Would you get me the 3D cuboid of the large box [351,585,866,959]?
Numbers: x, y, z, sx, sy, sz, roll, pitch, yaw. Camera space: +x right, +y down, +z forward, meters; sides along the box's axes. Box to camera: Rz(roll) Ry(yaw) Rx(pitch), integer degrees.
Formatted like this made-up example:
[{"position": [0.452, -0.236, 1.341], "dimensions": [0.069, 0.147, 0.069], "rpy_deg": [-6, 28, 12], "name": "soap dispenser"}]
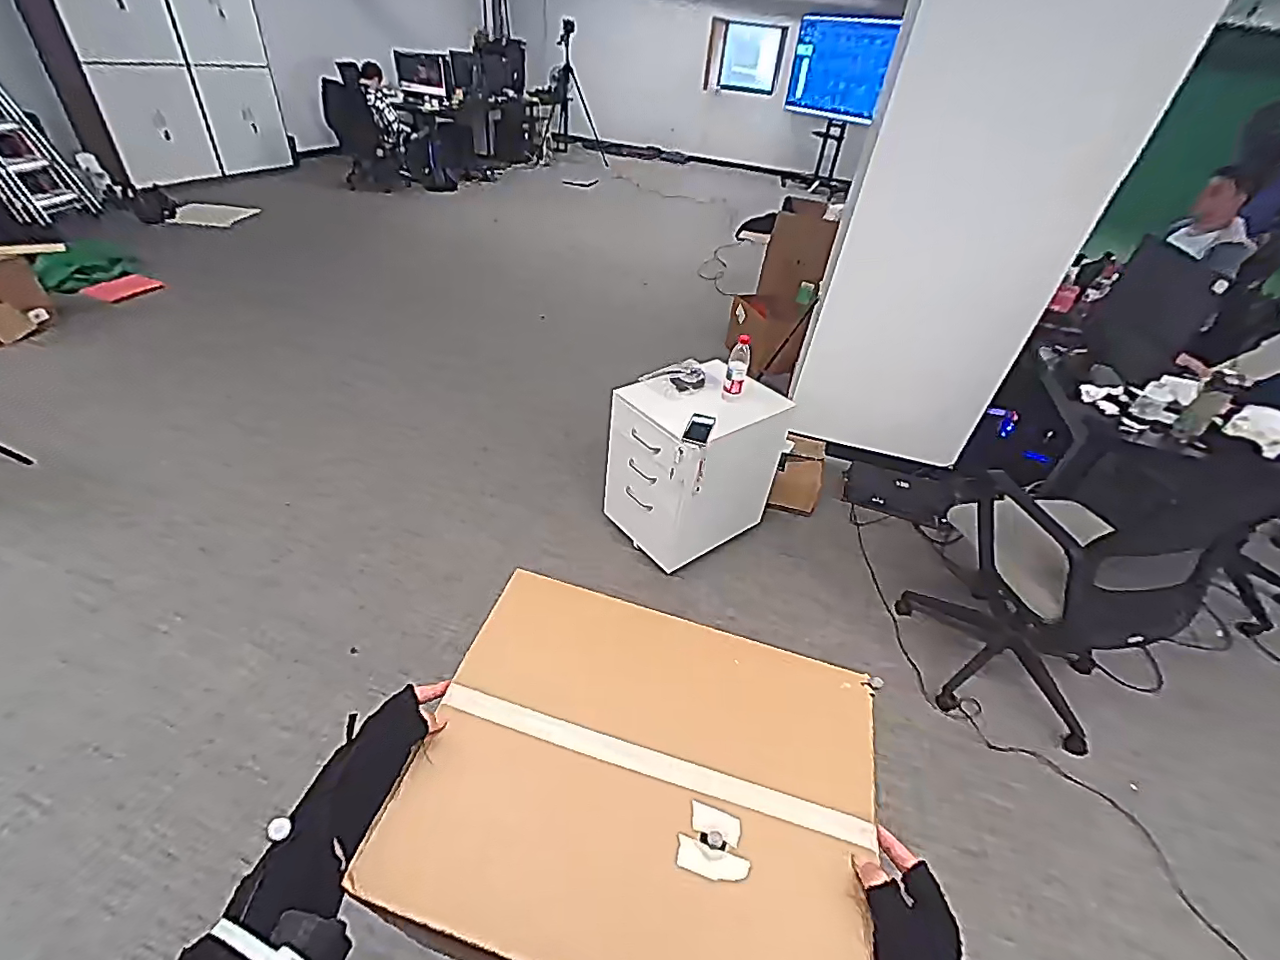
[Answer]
[{"position": [-0.013, 0.375, 0.597], "dimensions": [0.408, 0.320, 0.320], "rpy_deg": [16, 45, 7], "name": "large box"}]
